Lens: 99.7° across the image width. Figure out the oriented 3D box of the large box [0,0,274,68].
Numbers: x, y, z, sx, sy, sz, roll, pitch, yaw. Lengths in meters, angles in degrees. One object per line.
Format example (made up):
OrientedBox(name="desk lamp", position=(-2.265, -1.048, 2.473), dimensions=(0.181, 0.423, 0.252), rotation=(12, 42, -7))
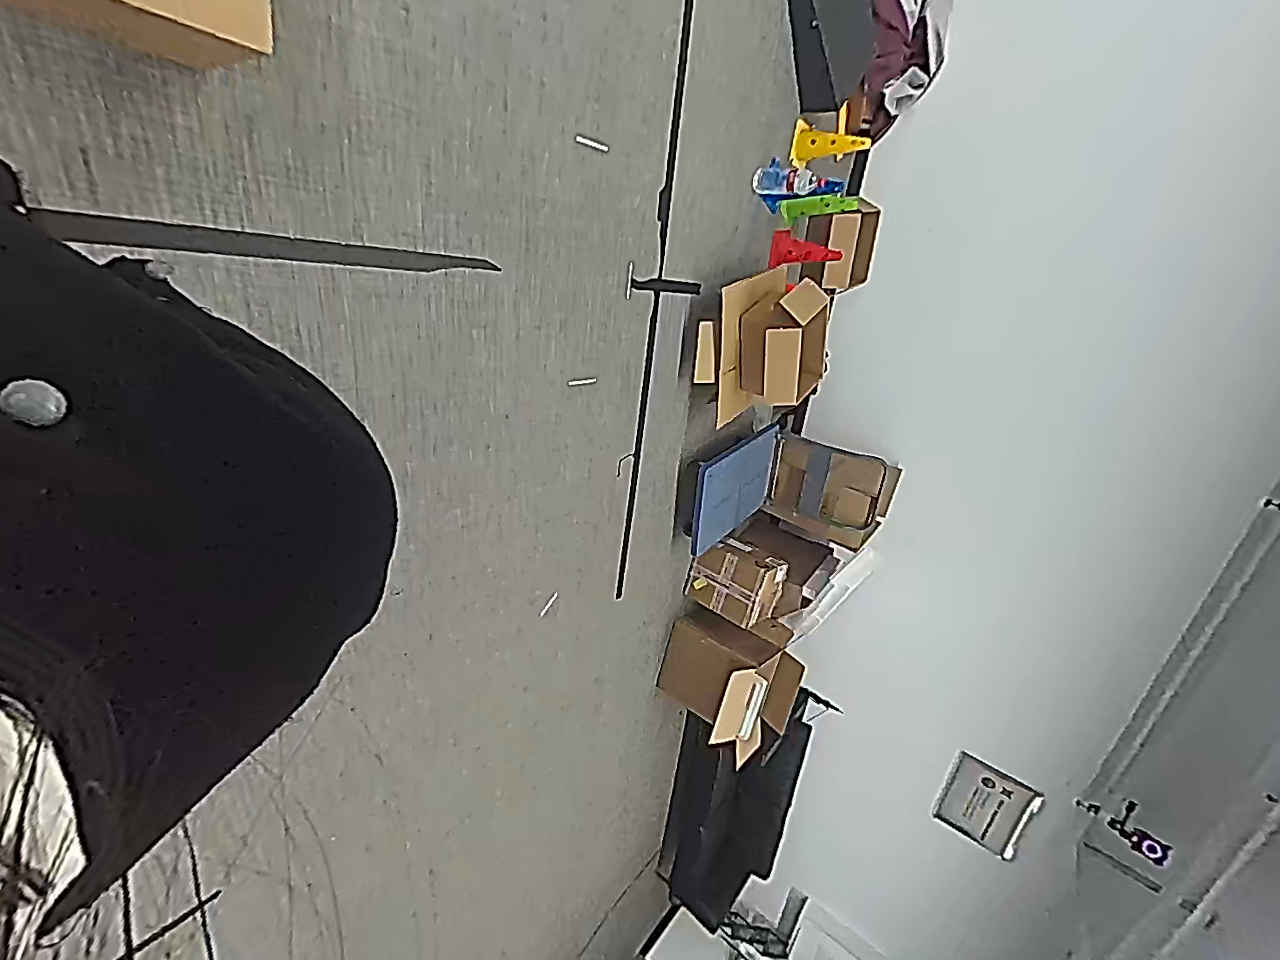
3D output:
OrientedBox(name="large box", position=(-0.809, -0.838, 0.748), dimensions=(0.408, 0.320, 0.320), rotation=(-18, 123, -51))
